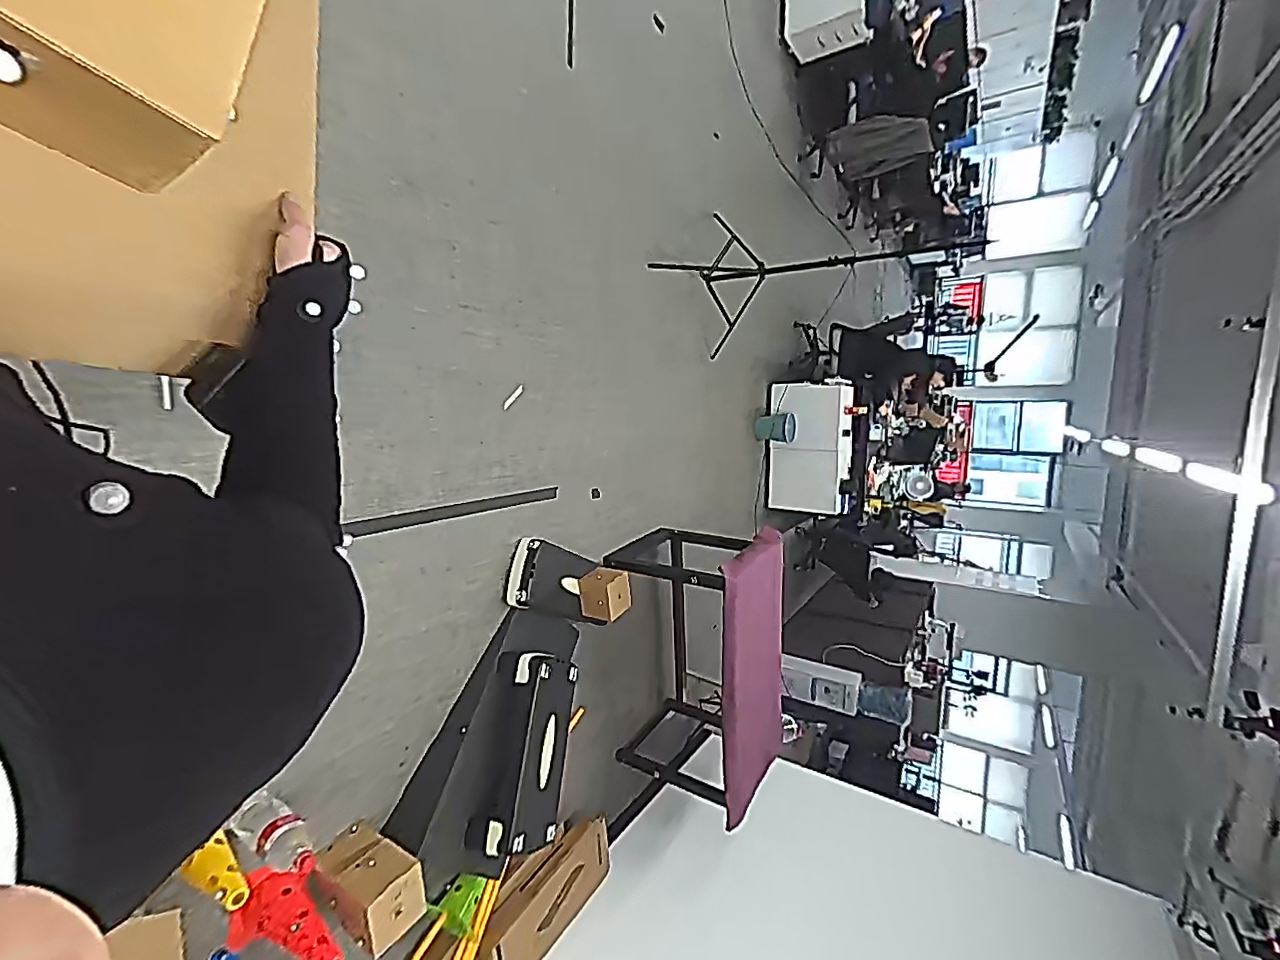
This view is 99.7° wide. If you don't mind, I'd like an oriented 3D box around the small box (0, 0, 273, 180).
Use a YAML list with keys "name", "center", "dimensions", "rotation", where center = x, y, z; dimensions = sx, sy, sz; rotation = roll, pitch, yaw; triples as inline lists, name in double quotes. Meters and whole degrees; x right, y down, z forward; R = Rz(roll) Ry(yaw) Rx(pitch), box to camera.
- name: "small box"
  center: [-0.390, -0.337, 0.369]
  dimensions: [0.179, 0.176, 0.168]
  rotation: [20, 80, -52]
